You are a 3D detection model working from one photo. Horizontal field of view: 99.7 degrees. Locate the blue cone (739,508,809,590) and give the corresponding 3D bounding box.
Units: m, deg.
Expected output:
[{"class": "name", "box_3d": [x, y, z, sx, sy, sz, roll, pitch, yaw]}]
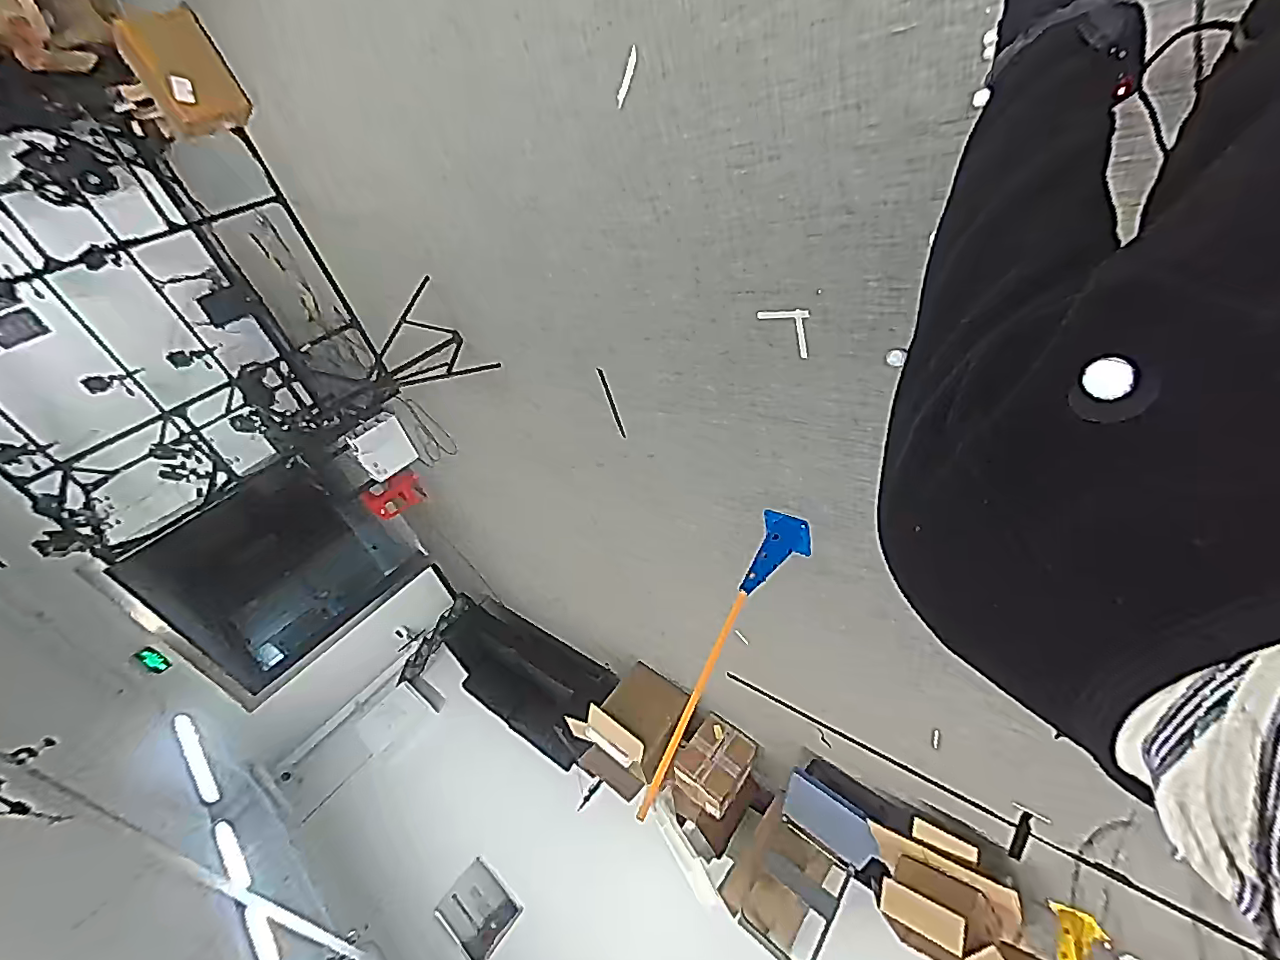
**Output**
[{"class": "blue cone", "box_3d": [0.505, 0.302, 2.146, 0.193, 0.380, 0.192, 19, 139, 37]}]
